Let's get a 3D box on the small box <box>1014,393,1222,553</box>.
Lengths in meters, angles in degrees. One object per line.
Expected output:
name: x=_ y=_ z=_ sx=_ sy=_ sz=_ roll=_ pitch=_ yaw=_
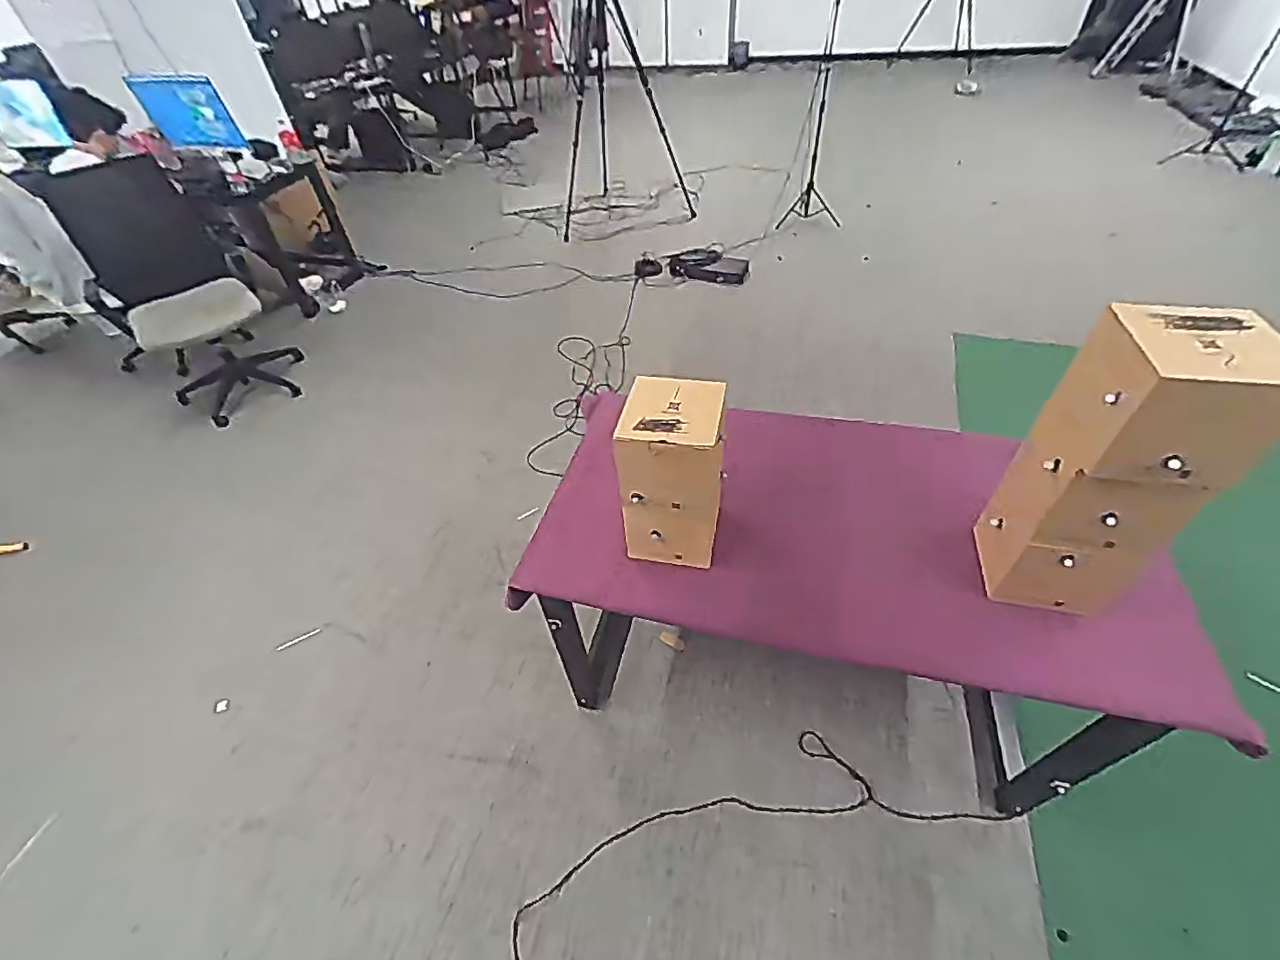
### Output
small box: x=0.715 y=-0.010 z=0.838 sx=0.168 sy=0.176 sz=0.179 roll=9 pitch=47 yaw=14

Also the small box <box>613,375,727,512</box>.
small box: x=0.060 y=-0.064 z=0.959 sx=0.168 sy=0.176 sz=0.179 roll=7 pitch=46 yaw=12

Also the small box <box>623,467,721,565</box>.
small box: x=0.072 y=0.049 z=1.078 sx=0.168 sy=0.176 sz=0.179 roll=6 pitch=47 yaw=12

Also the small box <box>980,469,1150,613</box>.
small box: x=0.728 y=0.106 z=0.955 sx=0.168 sy=0.176 sz=0.179 roll=7 pitch=46 yaw=14
